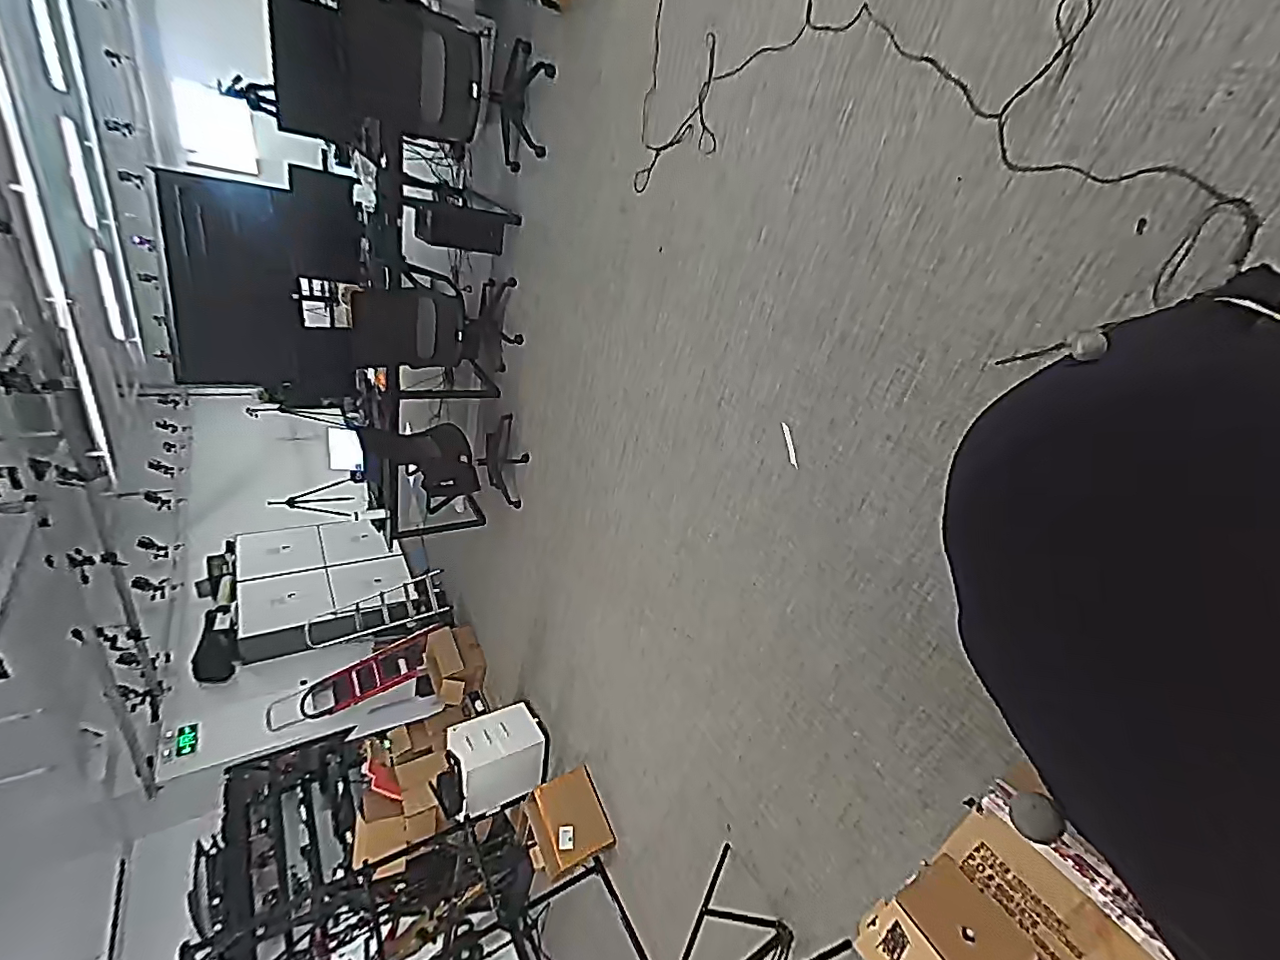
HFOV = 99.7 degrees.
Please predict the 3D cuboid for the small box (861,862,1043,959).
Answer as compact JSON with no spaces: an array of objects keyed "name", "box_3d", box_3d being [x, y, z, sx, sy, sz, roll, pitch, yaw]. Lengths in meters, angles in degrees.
[{"name":"small box","box_3d":[0.525,0.794,0.917,0.179,0.176,0.168,45,130,43]}]
